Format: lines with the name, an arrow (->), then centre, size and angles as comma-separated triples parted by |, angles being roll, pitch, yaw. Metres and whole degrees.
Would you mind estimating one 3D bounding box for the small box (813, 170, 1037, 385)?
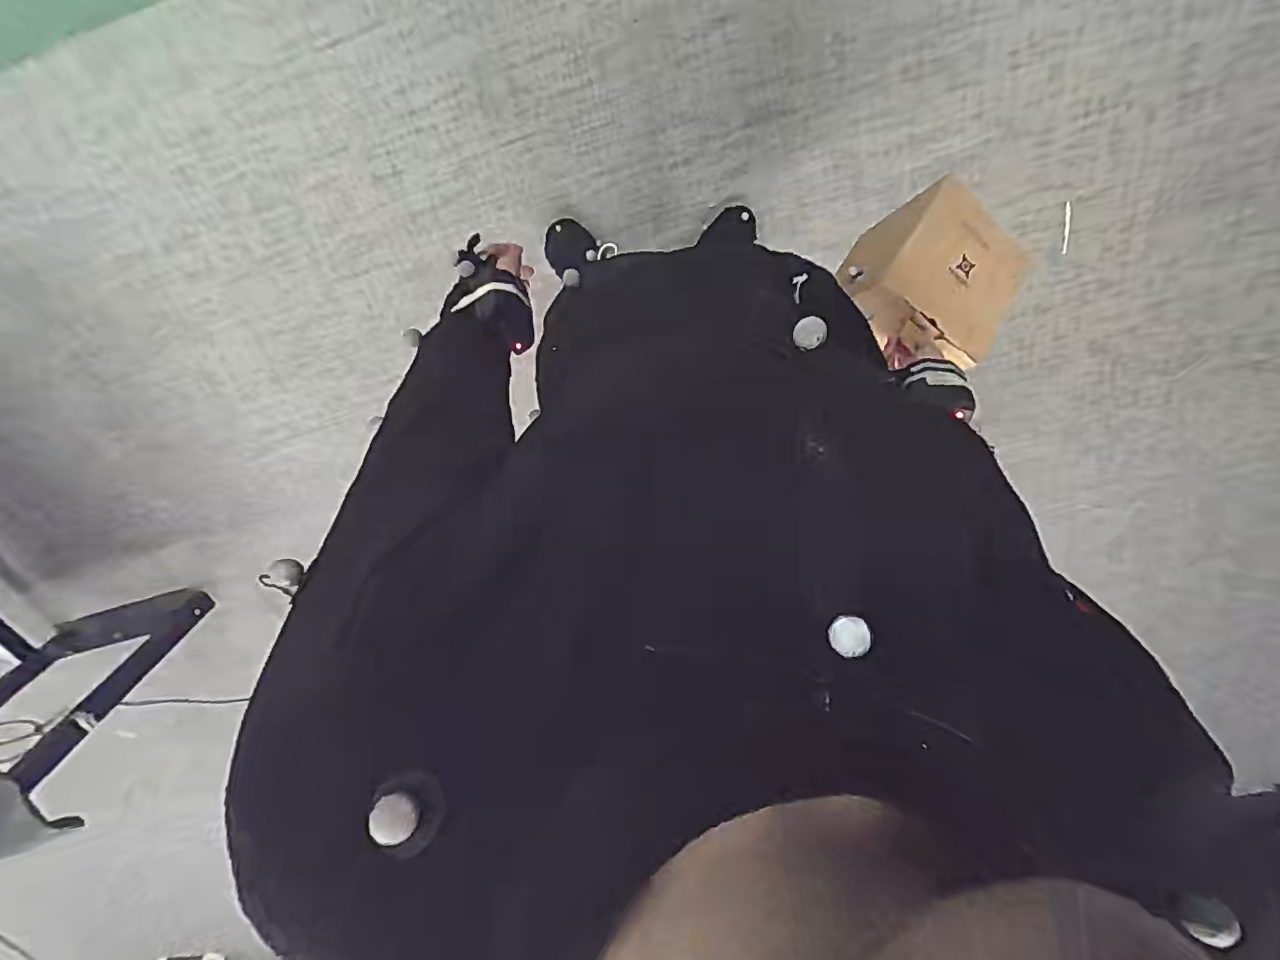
small box -> 0.361, -0.249, 0.716 | 0.168, 0.176, 0.179 | 35, 79, -13
